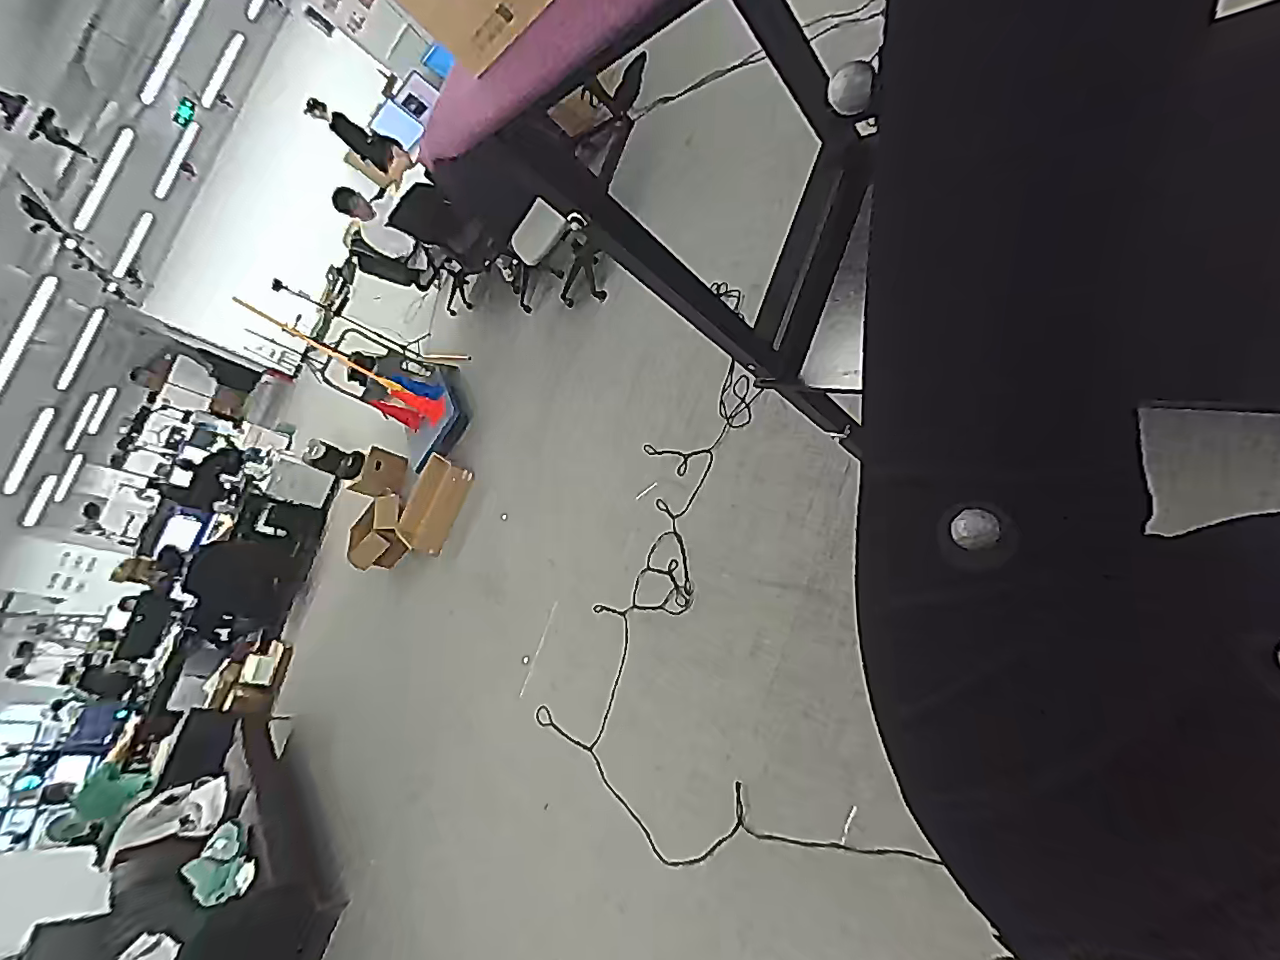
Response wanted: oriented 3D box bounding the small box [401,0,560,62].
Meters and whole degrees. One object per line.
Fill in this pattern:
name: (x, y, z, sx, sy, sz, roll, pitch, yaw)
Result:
small box: (-0.146, -0.528, 0.485, 0.168, 0.176, 0.179, 11, 80, 48)
